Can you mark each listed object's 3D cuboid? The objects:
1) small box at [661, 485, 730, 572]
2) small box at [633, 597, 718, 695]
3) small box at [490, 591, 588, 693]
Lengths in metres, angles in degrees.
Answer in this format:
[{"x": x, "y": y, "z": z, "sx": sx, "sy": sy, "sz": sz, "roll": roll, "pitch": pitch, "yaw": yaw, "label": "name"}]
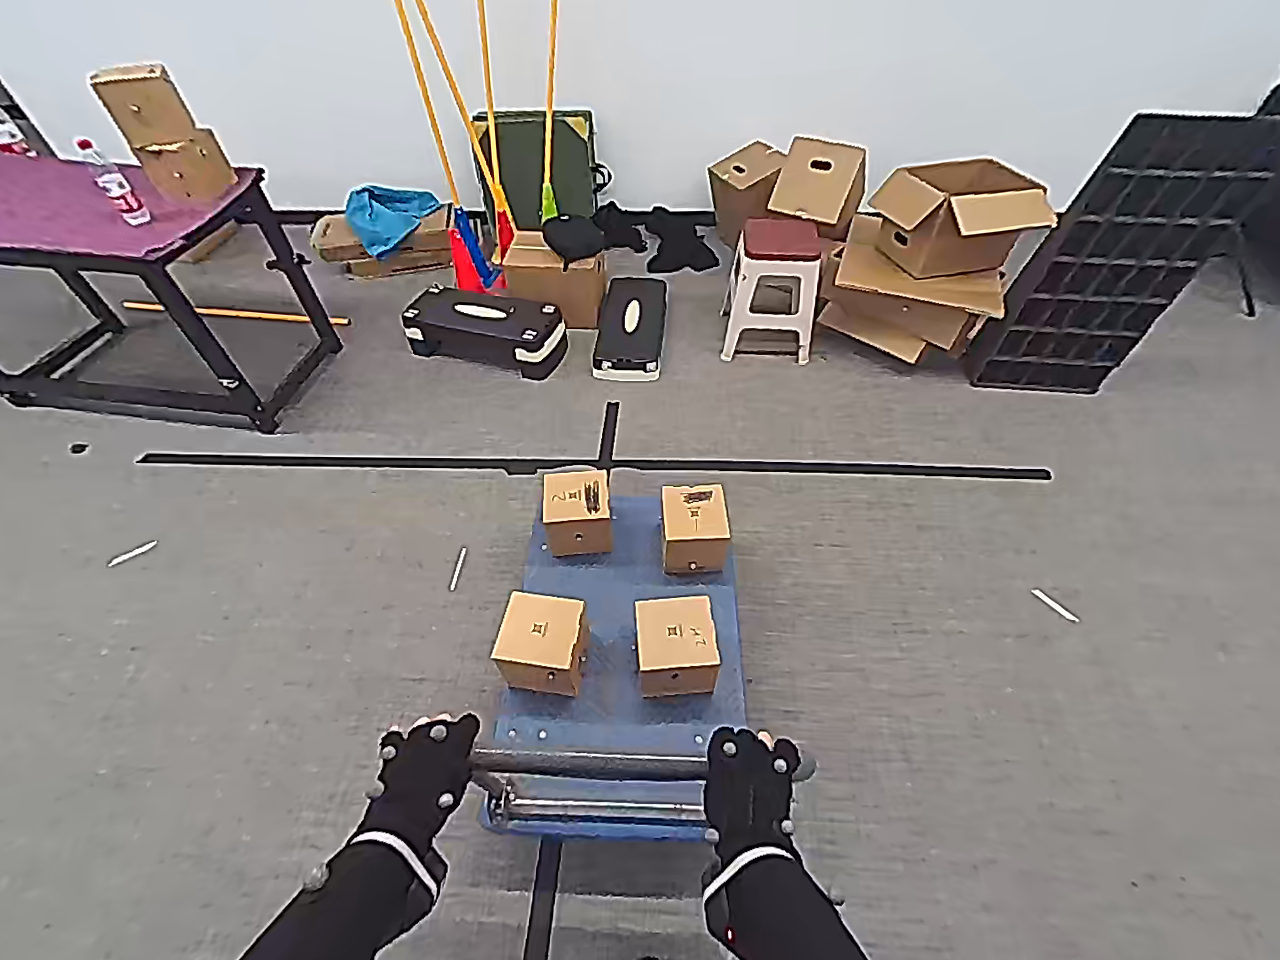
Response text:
[{"x": 0.143, "y": 0.132, "z": 1.465, "sx": 0.168, "sy": 0.176, "sz": 0.179, "roll": -2, "pitch": 51, "yaw": -1, "label": "small box"}, {"x": 0.078, "y": 0.387, "z": 1.253, "sx": 0.179, "sy": 0.176, "sz": 0.168, "roll": -3, "pitch": 51, "yaw": -2, "label": "small box"}, {"x": -0.227, "y": 0.381, "z": 1.263, "sx": 0.179, "sy": 0.176, "sz": 0.168, "roll": 7, "pitch": 50, "yaw": 5, "label": "small box"}]
